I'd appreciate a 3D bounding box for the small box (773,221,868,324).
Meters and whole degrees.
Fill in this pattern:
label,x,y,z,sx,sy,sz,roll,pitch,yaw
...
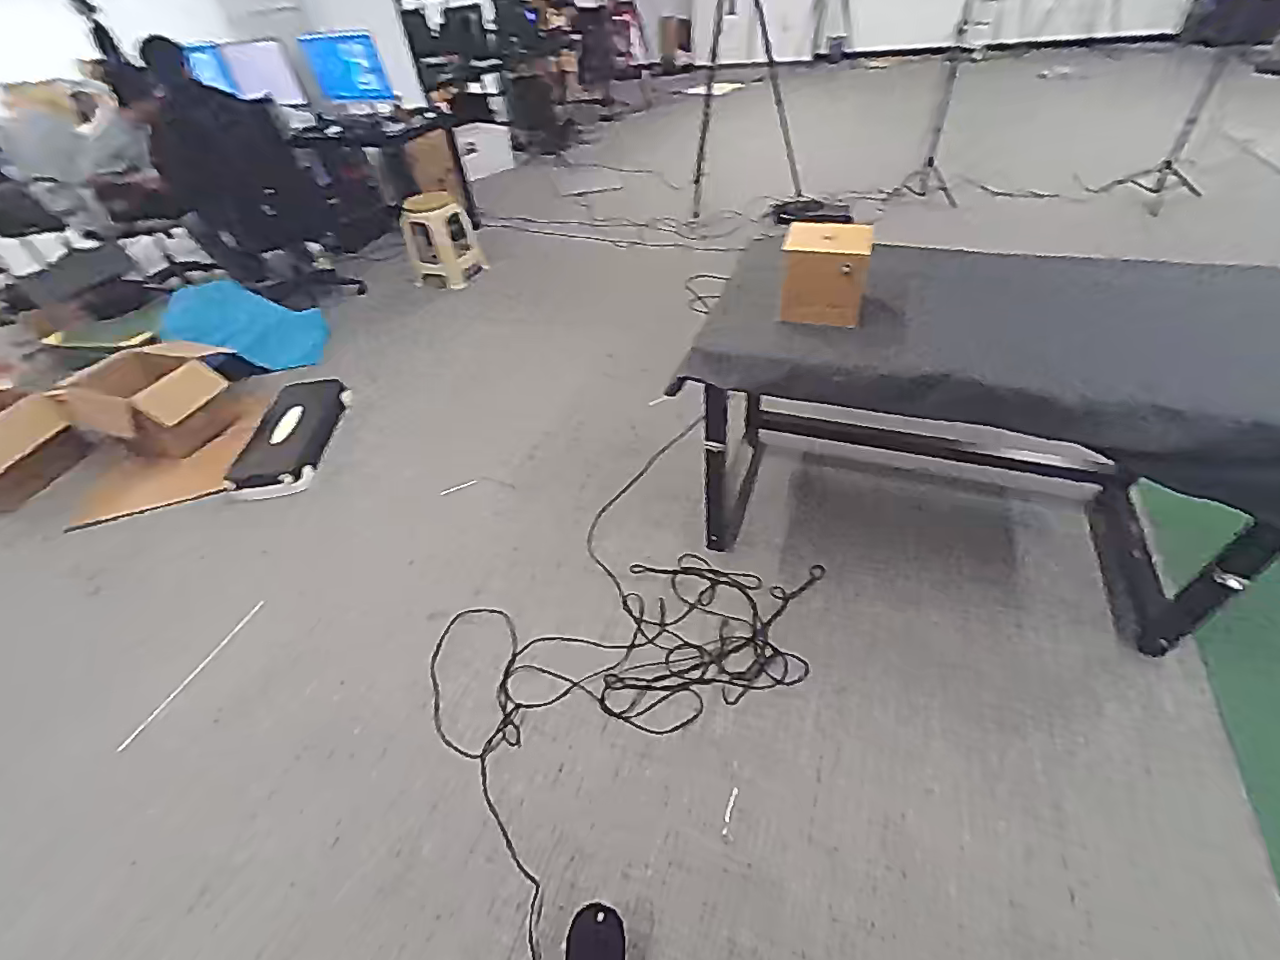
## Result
label,x,y,z,sx,sy,sz,roll,pitch,yaw
small box,0.402,-0.467,1.220,0.179,0.176,0.168,11,46,16
